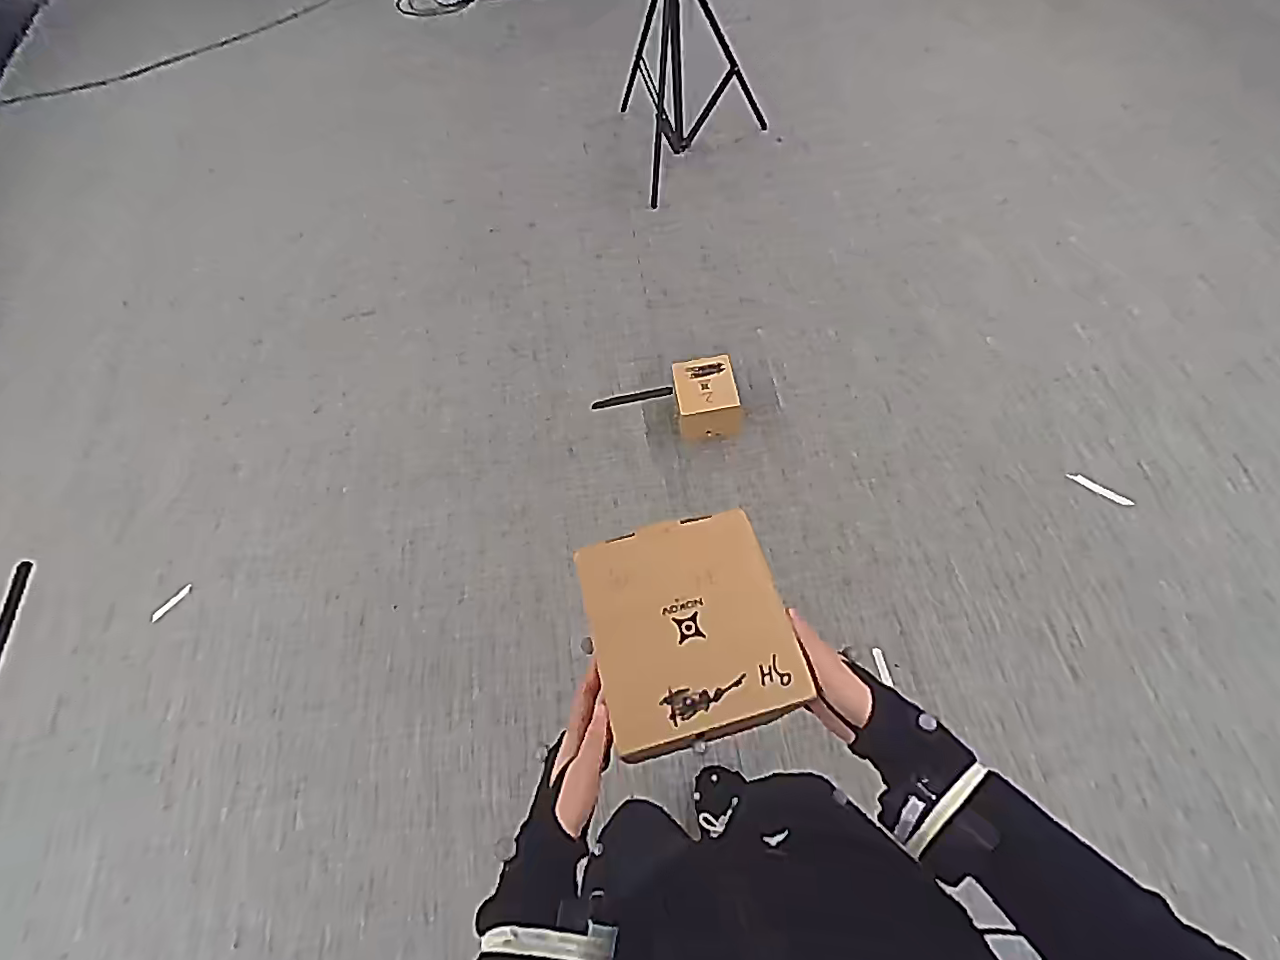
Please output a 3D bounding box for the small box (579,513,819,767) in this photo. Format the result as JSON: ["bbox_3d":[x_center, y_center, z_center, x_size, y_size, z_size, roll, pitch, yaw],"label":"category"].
[{"bbox_3d":[0.042,0.159,0.523,0.168,0.176,0.179,-13,60,-7],"label":"small box"}]
